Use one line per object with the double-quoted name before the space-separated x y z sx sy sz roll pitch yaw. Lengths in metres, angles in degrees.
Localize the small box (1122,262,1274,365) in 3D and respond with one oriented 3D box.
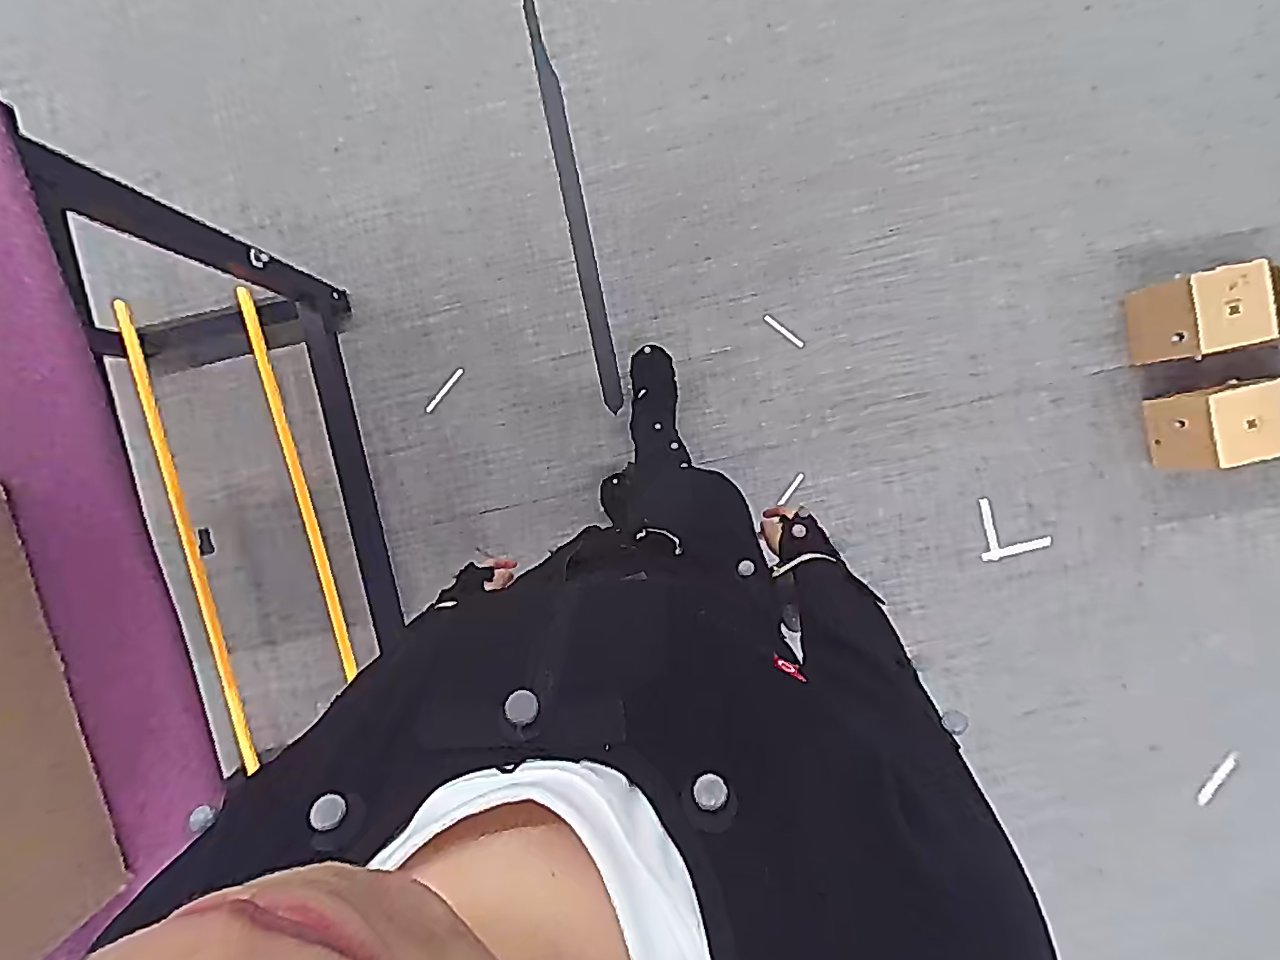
"small box" 1.258 -0.368 1.231 0.168 0.176 0.179 -12 93 2
